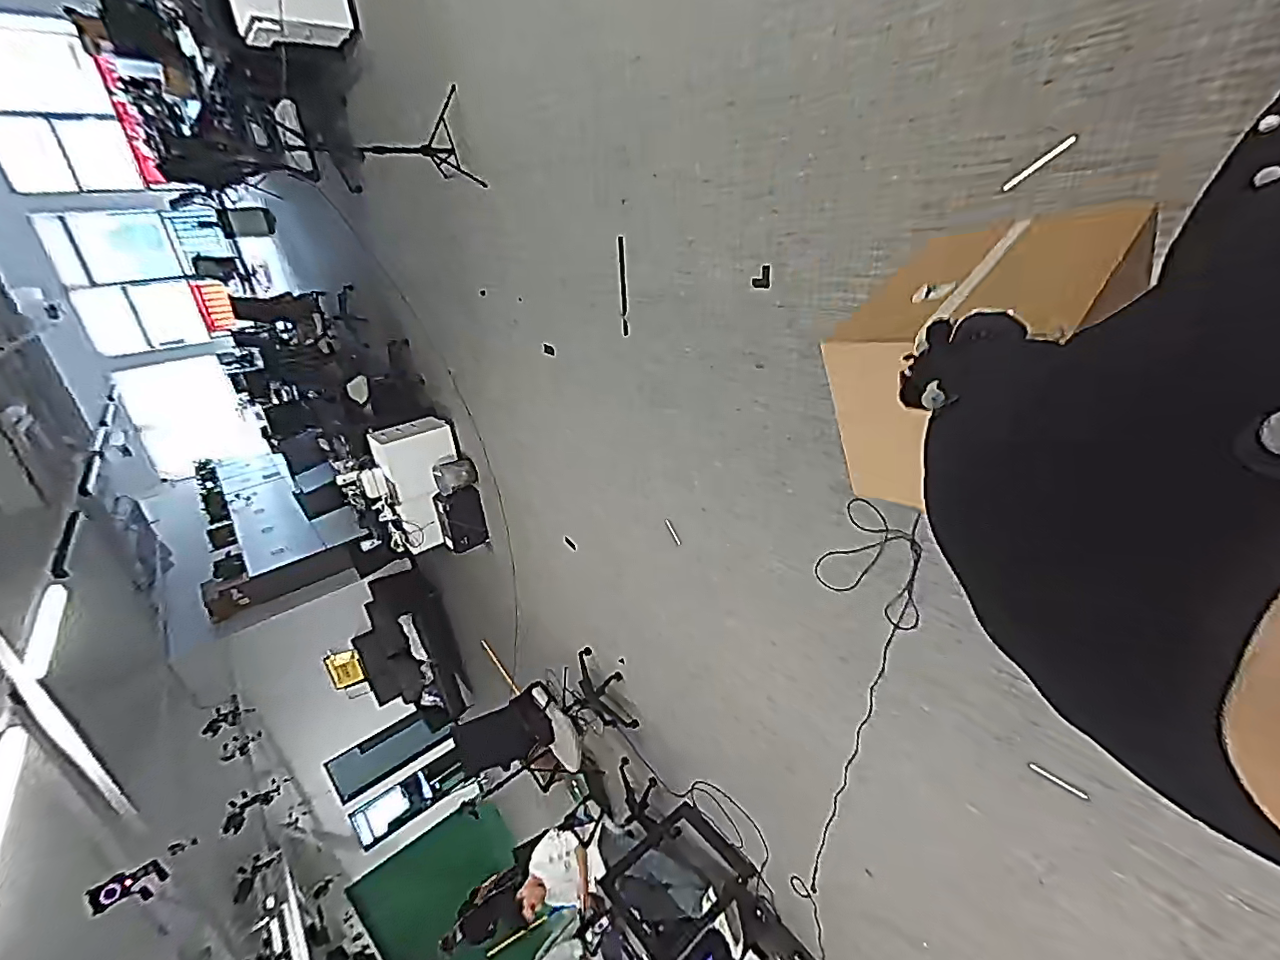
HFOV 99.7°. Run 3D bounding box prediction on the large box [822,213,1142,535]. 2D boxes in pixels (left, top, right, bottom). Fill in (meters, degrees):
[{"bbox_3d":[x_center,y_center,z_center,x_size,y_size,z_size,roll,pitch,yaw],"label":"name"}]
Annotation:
[{"bbox_3d":[0.561,-0.178,0.884,0.320,0.408,0.320,13,137,49],"label":"large box"}]
